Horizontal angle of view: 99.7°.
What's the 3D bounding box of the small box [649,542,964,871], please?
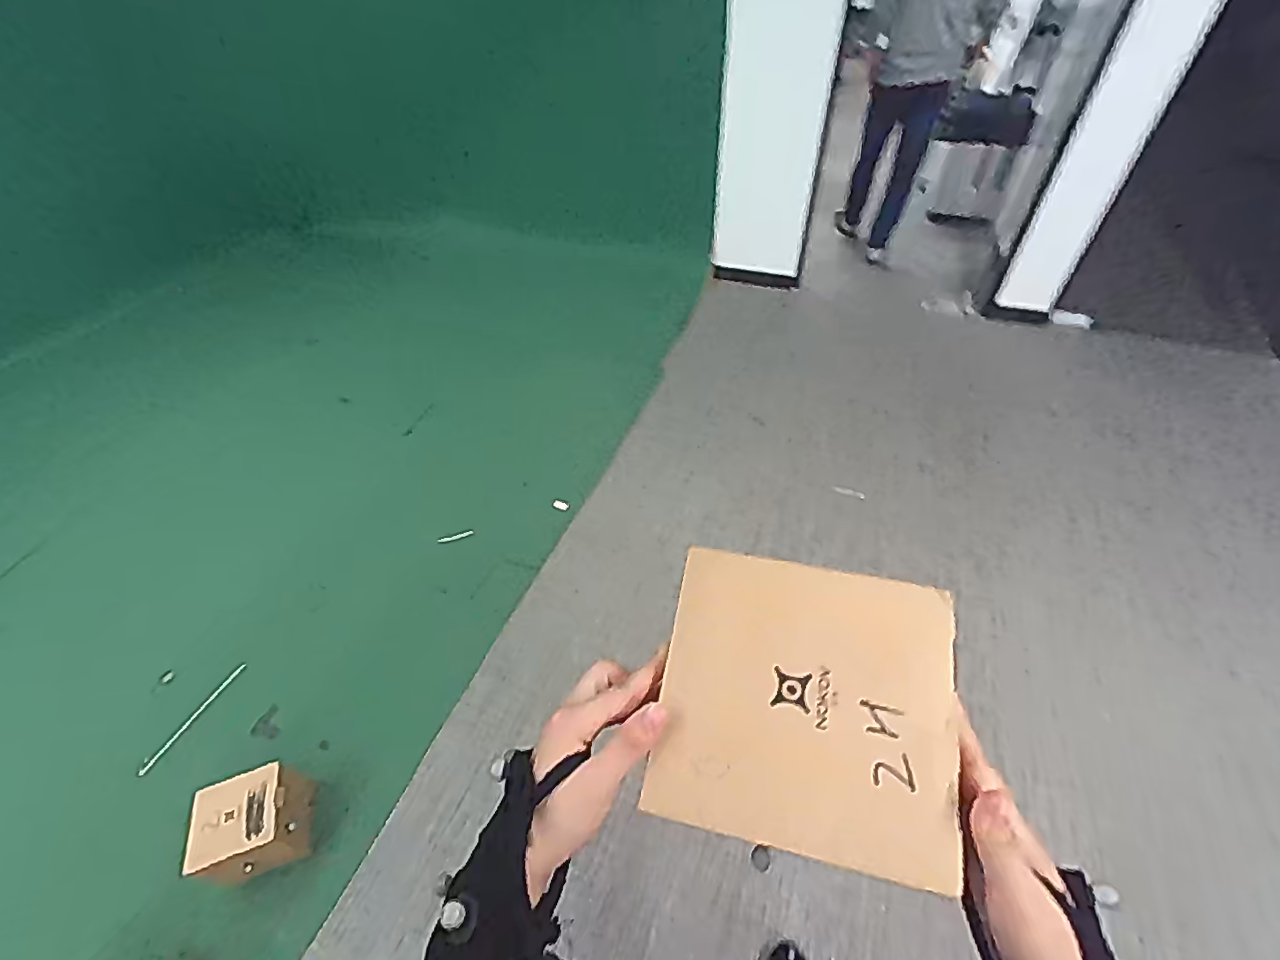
[{"bbox_3d":[0.114,0.164,0.408,0.179,0.176,0.168,9,64,10],"label":"small box"}]
